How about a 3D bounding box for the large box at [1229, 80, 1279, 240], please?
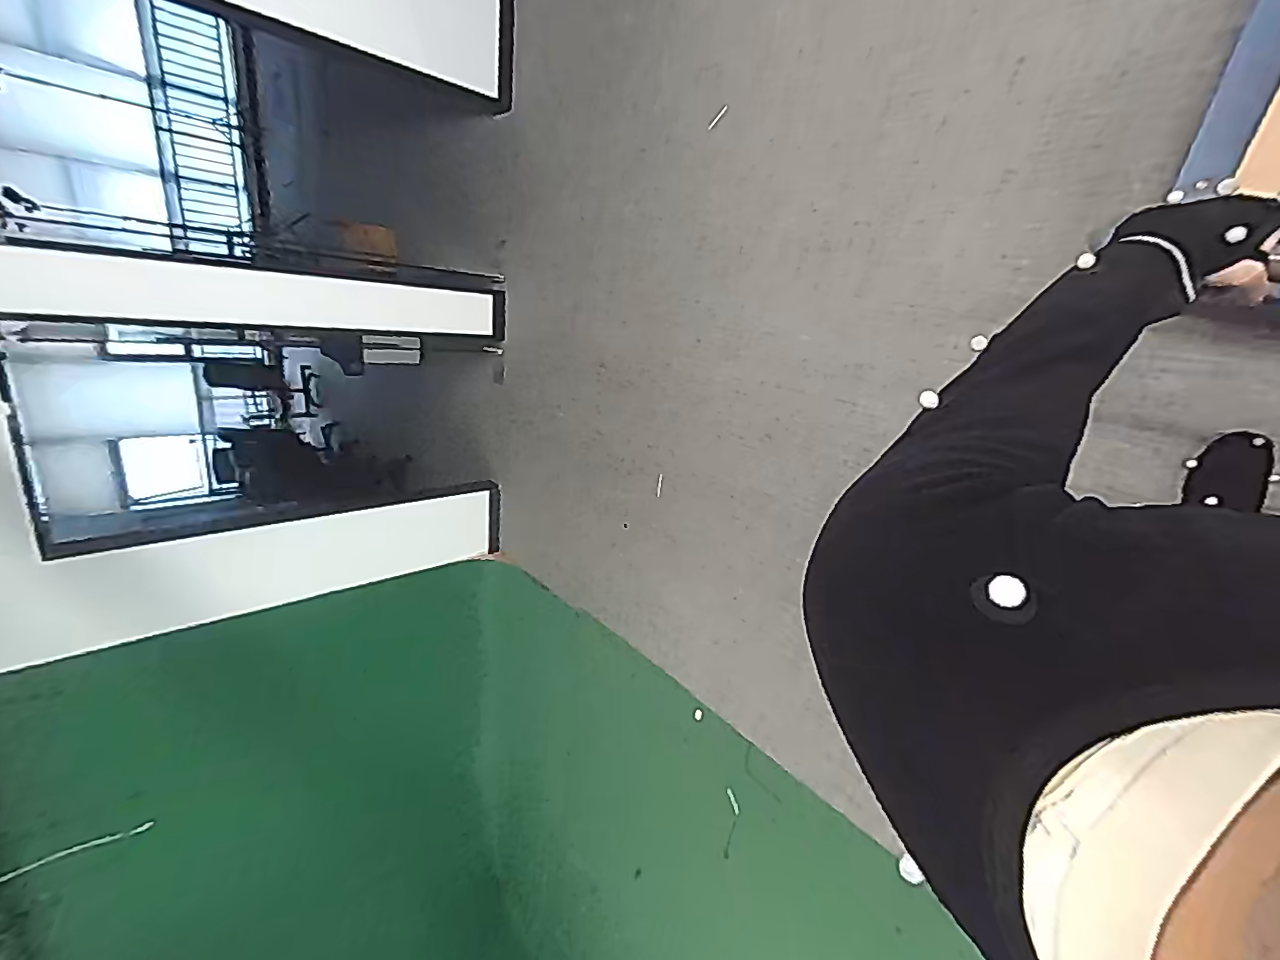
[{"bbox_3d":[1.074,-0.544,0.698,0.320,0.320,0.408,29,117,41],"label":"large box"}]
